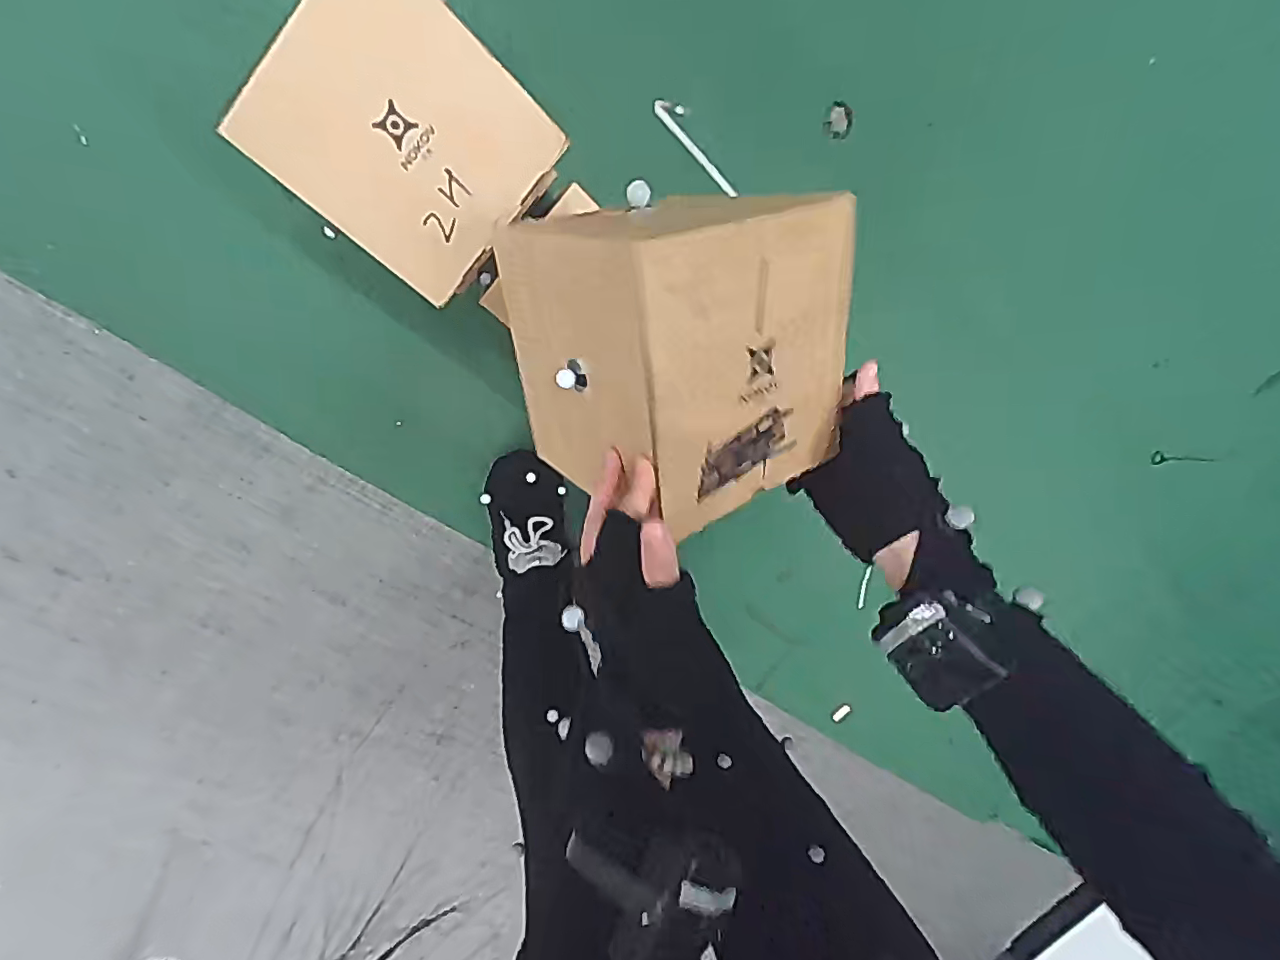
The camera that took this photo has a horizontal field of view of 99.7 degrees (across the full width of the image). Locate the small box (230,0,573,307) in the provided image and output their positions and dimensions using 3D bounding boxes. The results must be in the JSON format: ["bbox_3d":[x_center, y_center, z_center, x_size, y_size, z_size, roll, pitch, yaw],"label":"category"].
[{"bbox_3d":[-0.183,-0.274,0.462,0.179,0.176,0.168,39,100,-26],"label":"small box"}]
